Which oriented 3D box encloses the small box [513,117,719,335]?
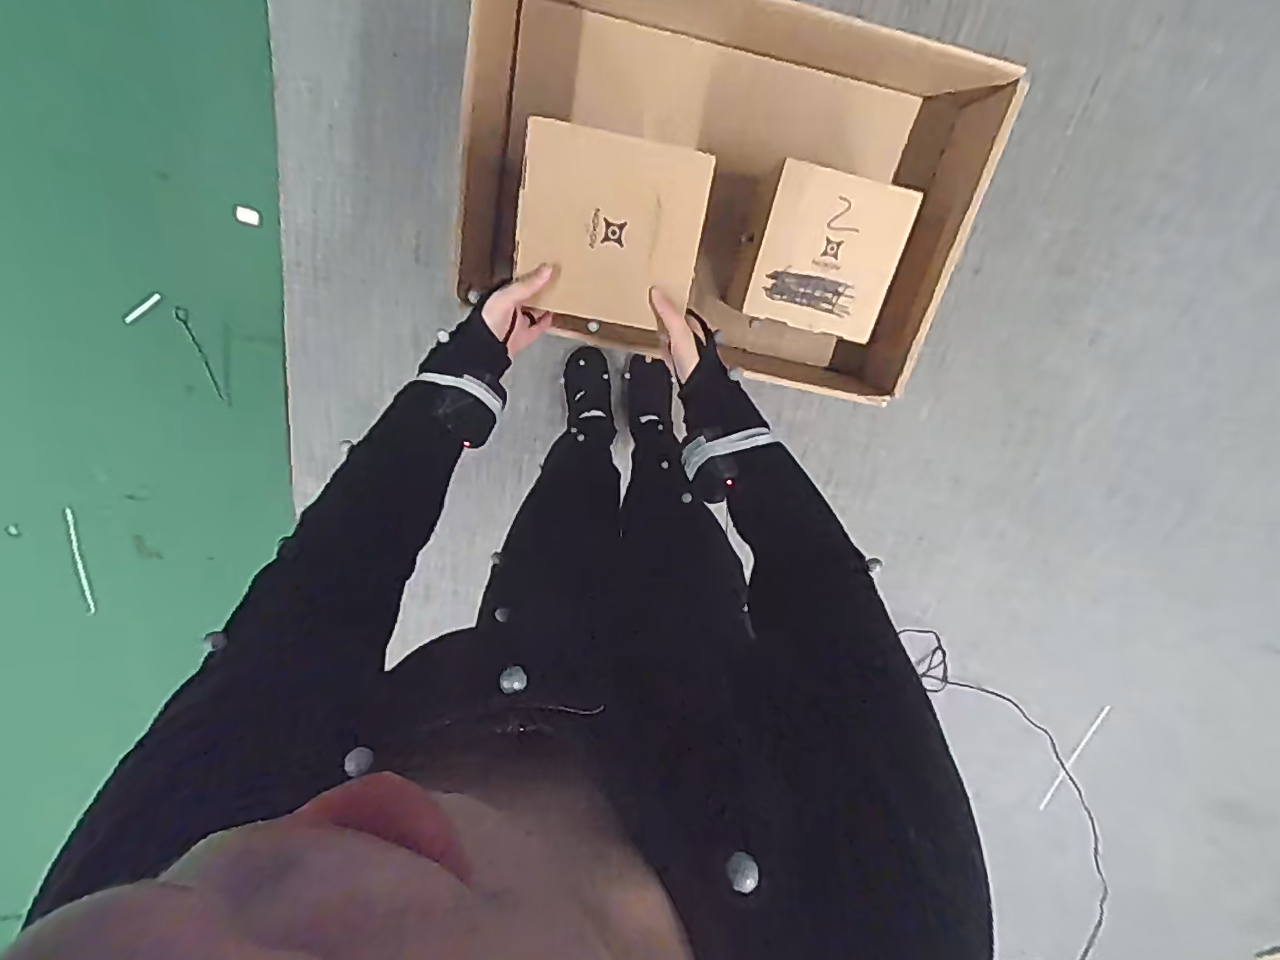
[{"bbox_3d":[-0.029,-0.264,0.594,0.179,0.176,0.168,10,110,-6],"label":"small box"}]
